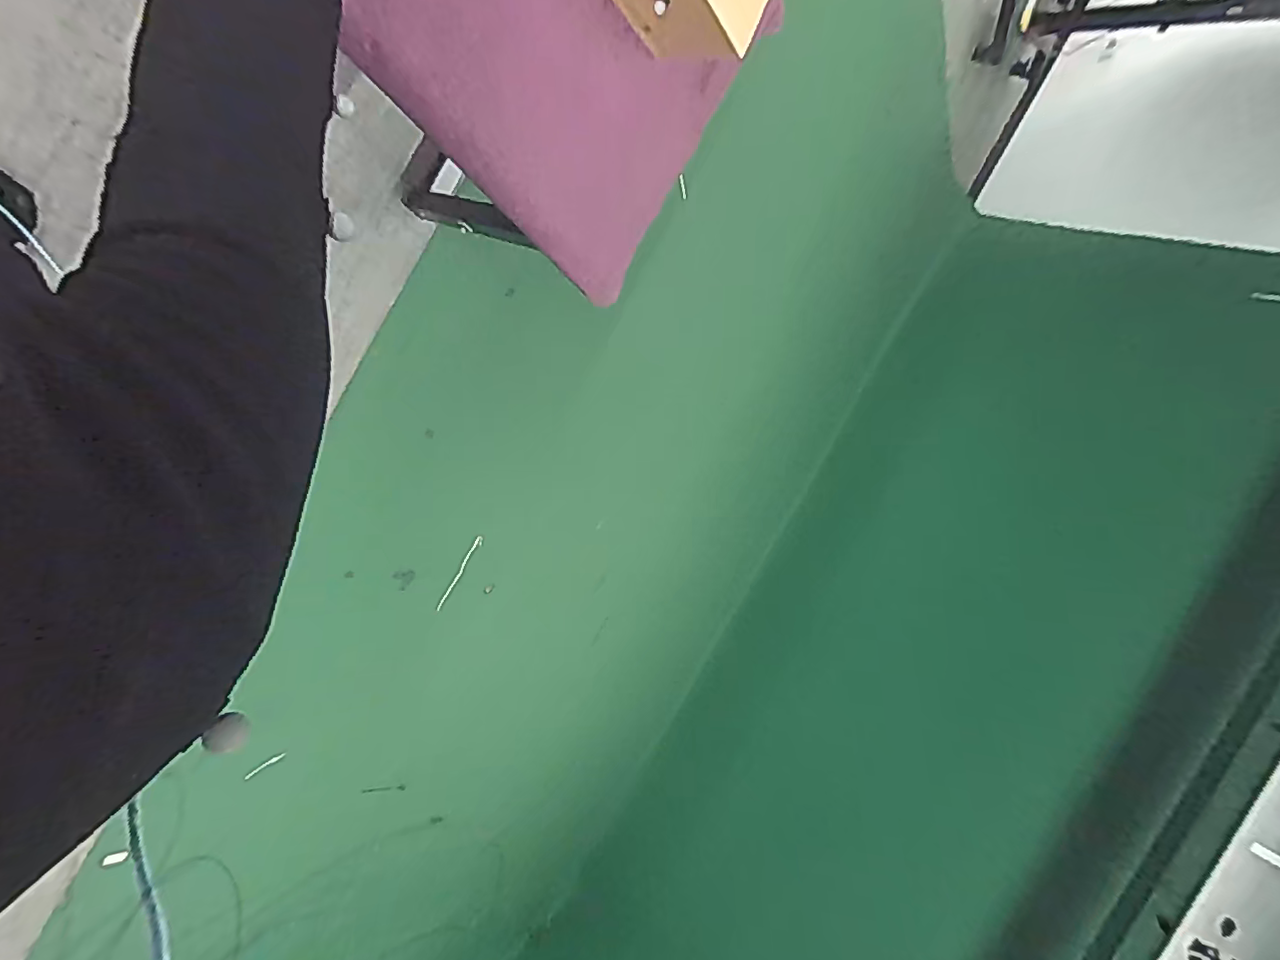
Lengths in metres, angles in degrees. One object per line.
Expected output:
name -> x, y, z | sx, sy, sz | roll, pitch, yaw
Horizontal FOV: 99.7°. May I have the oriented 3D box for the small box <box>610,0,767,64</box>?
small box -> 0.068, -0.699, 0.725 | 0.168, 0.176, 0.179 | 14, 103, -53
